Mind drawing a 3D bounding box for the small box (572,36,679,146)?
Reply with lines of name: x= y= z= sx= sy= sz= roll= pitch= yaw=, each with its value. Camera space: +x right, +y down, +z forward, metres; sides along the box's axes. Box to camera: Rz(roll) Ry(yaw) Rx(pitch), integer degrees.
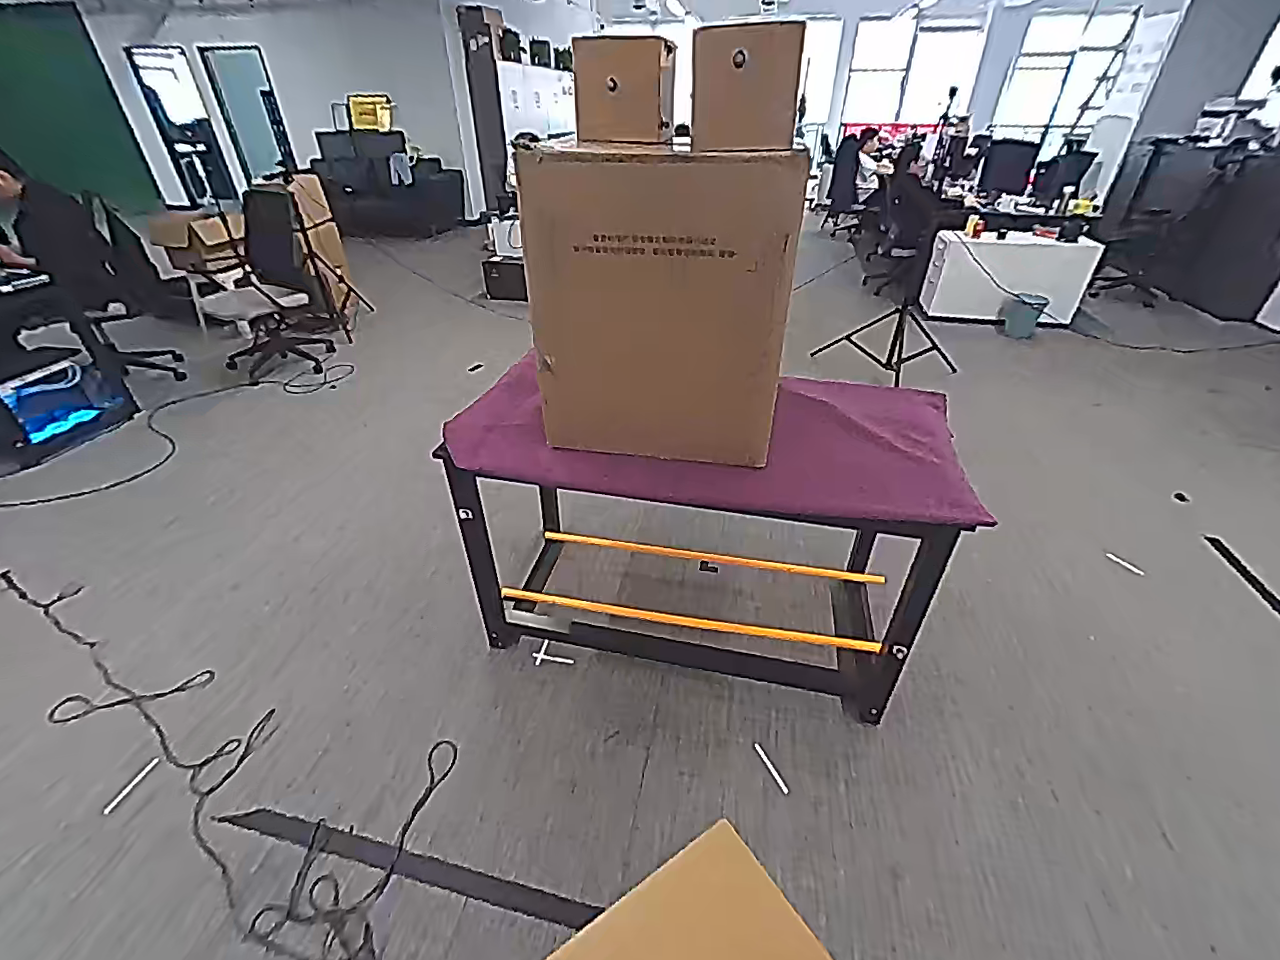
small box: x=-0.024 y=-0.790 z=1.106 sx=0.179 sy=0.176 sz=0.168 roll=8 pitch=34 yaw=13
